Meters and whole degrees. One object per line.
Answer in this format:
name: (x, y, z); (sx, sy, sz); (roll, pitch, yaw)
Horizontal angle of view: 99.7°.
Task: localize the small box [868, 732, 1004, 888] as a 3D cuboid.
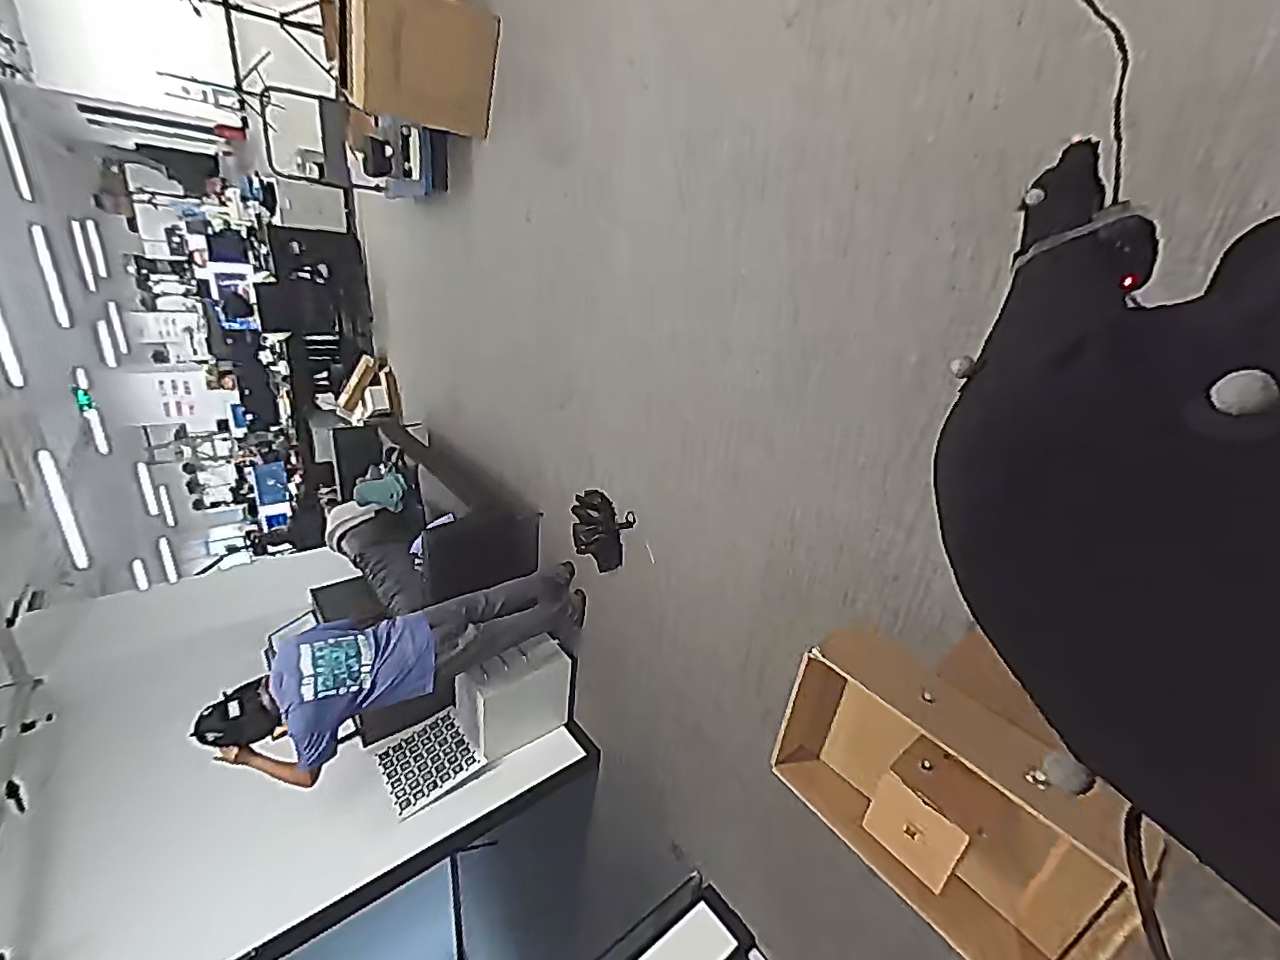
small box: (0.598, 0.653, 1.092); (0.168, 0.176, 0.179); (32, 127, 45)
